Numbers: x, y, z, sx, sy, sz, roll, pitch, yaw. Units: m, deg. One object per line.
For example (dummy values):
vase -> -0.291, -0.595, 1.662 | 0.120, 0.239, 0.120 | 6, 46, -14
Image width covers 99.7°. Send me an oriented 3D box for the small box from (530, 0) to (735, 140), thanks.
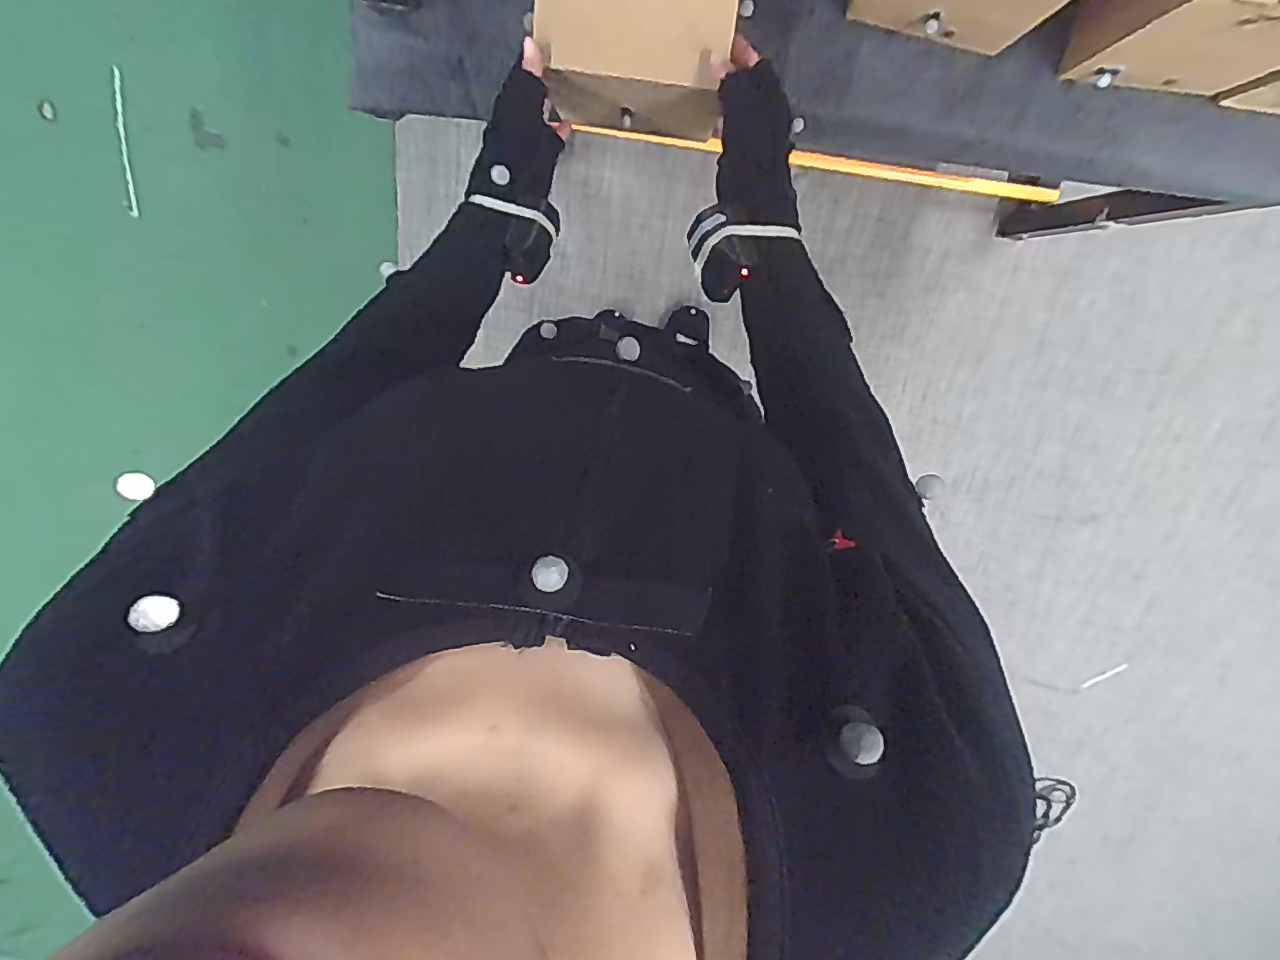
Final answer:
small box -> 0.002, -0.439, 0.499 | 0.168, 0.176, 0.179 | 7, 108, -1
